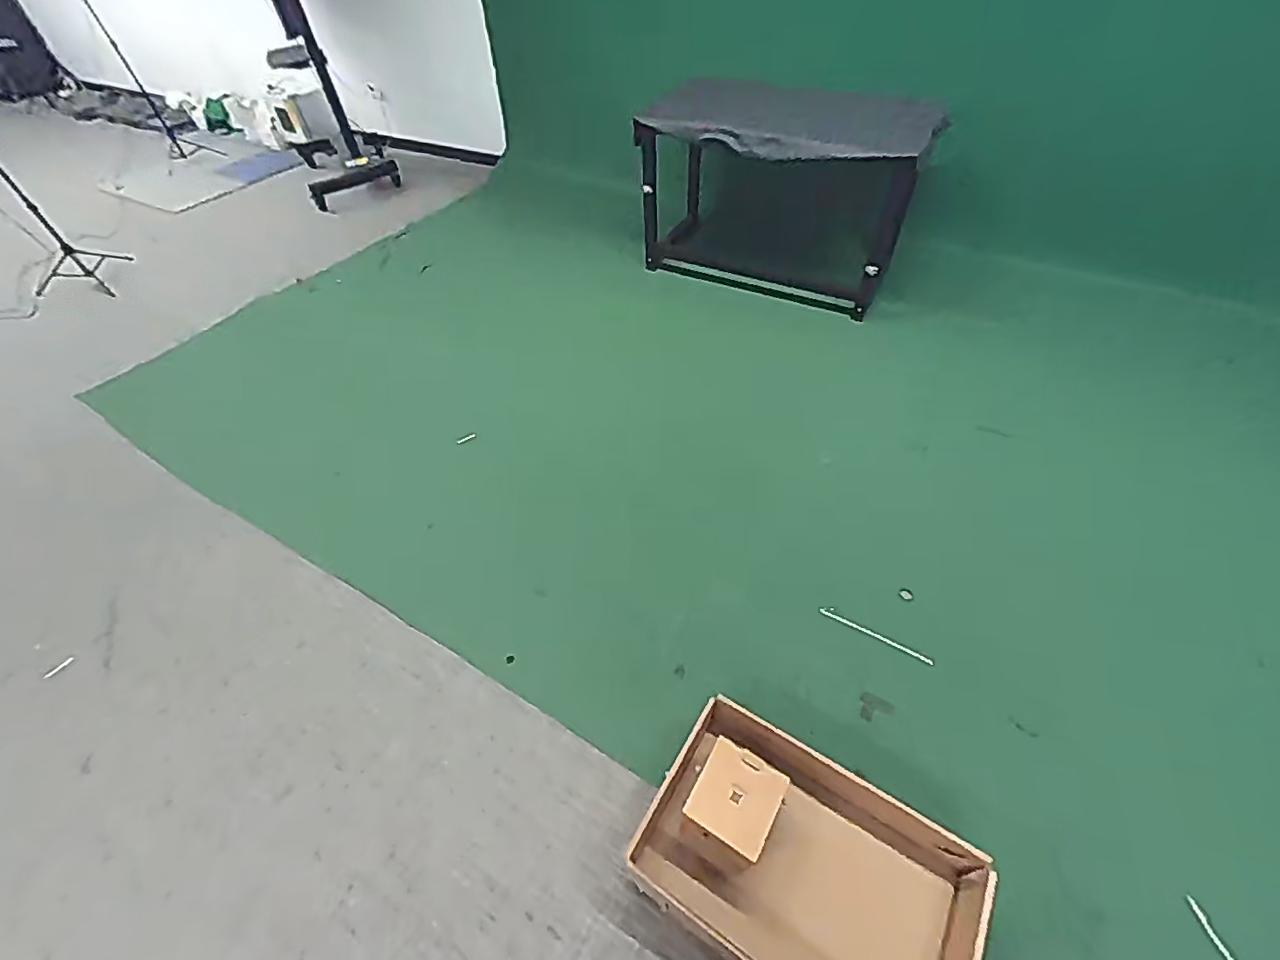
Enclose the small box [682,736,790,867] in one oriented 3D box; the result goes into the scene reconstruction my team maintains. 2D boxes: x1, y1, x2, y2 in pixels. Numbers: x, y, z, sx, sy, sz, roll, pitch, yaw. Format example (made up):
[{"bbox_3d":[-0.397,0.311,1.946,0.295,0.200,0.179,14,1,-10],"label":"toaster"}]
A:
[{"bbox_3d":[0.205,0.698,1.169,0.168,0.176,0.179,25,56,22],"label":"small box"}]
